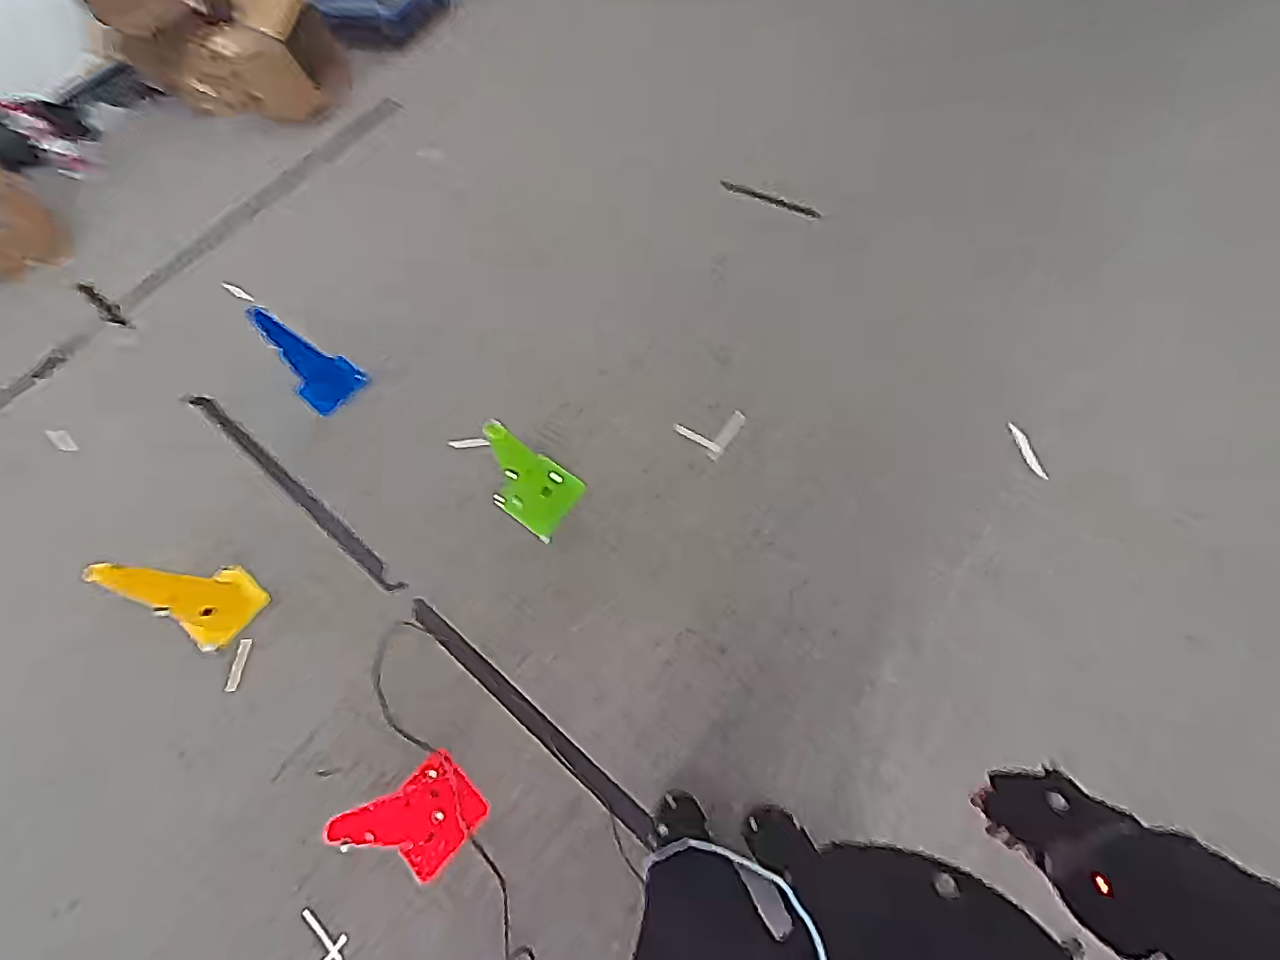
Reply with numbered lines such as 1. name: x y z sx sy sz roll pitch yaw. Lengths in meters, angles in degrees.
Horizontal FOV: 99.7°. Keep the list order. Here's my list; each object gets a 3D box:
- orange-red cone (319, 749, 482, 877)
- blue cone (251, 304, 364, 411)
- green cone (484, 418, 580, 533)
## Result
1. orange-red cone: -0.508 0.679 1.084 0.198 0.360 0.199 37 76 25
2. blue cone: -1.100 -0.408 1.736 0.193 0.380 0.192 37 73 23
3. green cone: -0.321 -0.042 1.412 0.200 0.368 0.202 33 72 22
